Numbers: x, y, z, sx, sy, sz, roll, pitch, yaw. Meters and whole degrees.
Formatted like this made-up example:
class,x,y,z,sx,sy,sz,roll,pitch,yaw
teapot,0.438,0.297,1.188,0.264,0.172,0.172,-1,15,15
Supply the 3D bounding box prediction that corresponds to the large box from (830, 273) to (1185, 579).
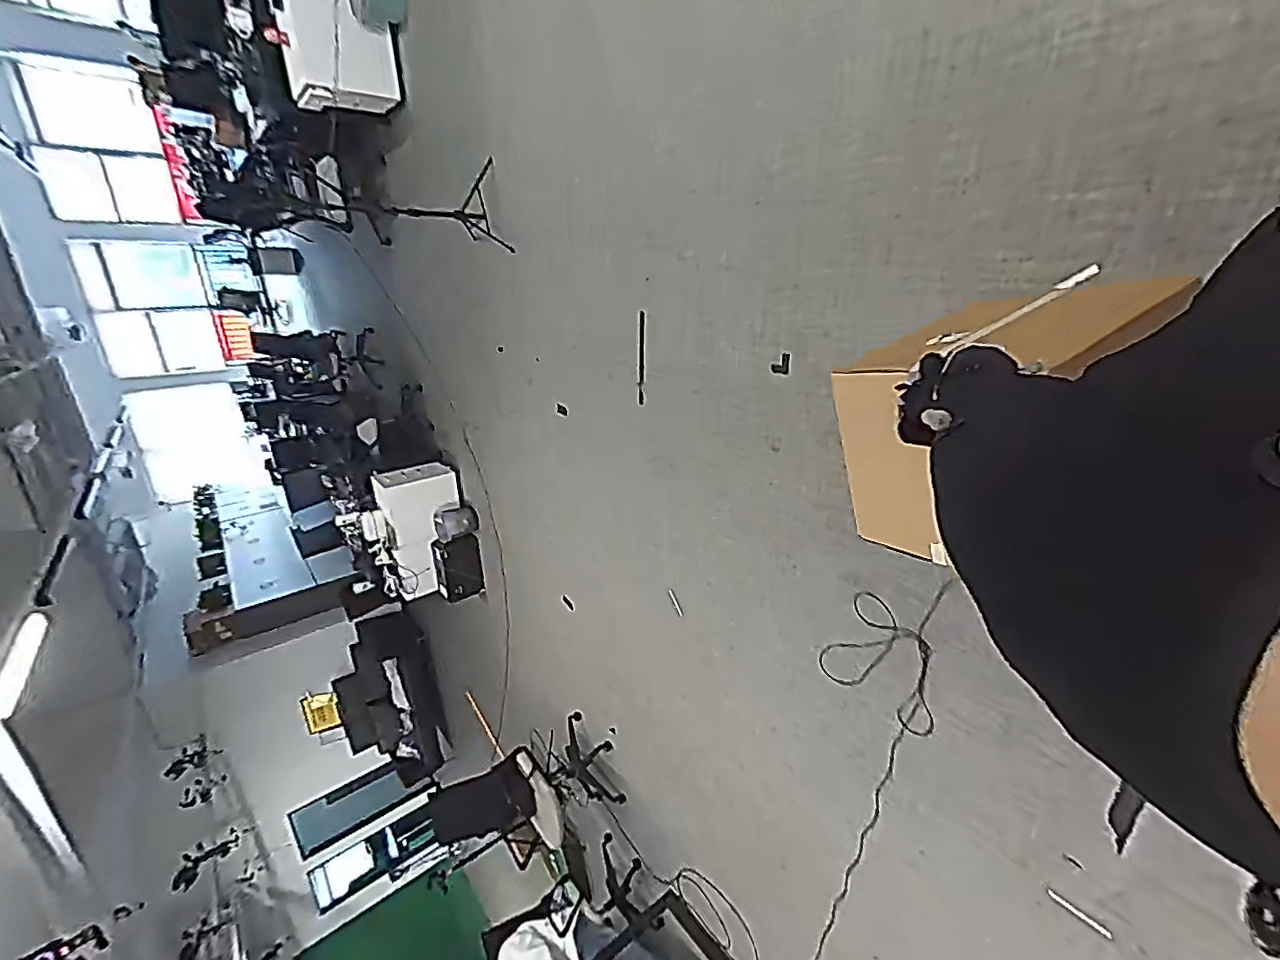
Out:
class,x,y,z,sx,sy,sz,roll,pitch,yaw
large box,0.583,-0.106,0.872,0.320,0.408,0.320,20,132,60
